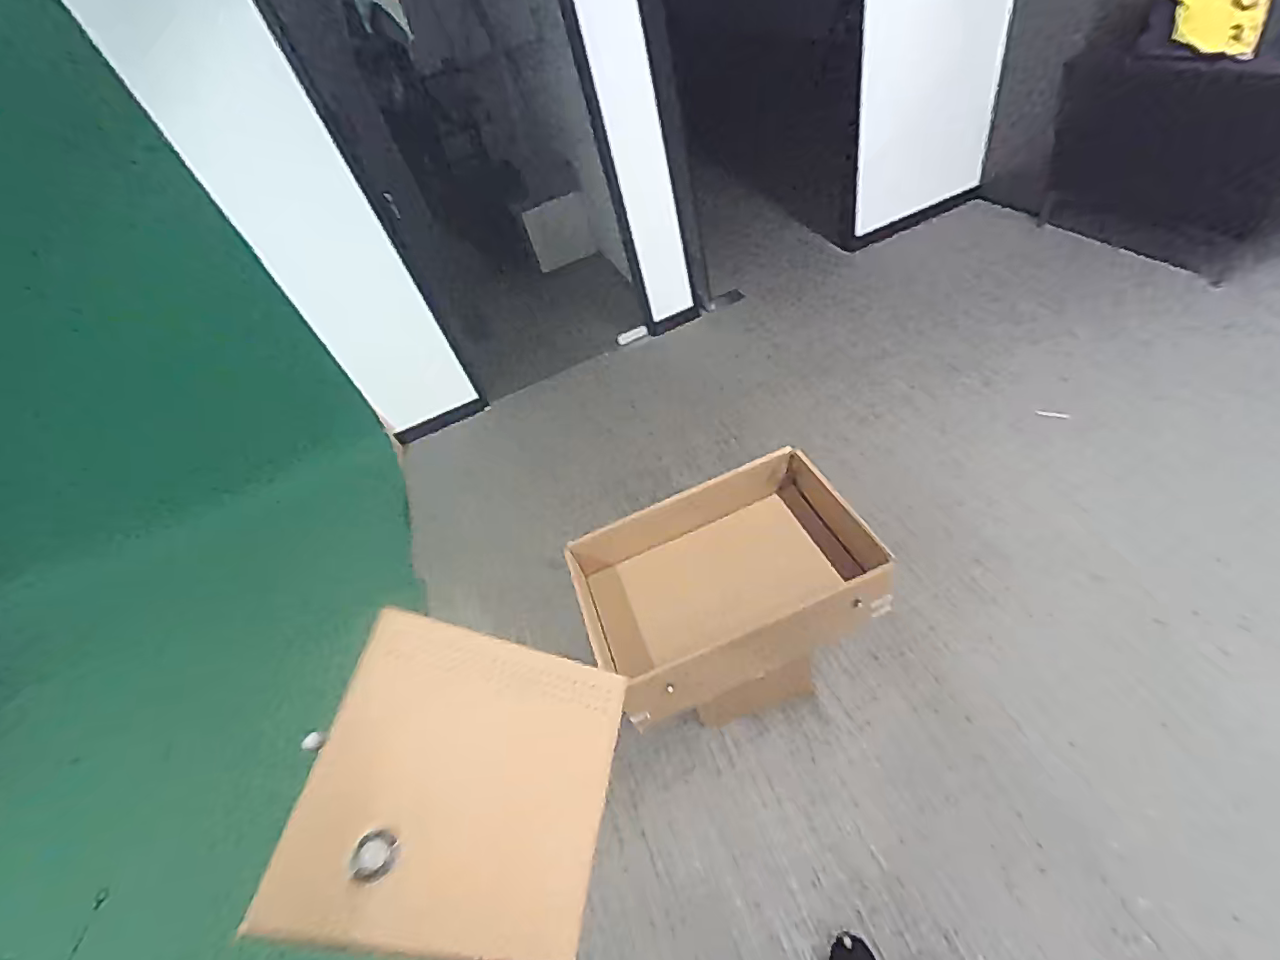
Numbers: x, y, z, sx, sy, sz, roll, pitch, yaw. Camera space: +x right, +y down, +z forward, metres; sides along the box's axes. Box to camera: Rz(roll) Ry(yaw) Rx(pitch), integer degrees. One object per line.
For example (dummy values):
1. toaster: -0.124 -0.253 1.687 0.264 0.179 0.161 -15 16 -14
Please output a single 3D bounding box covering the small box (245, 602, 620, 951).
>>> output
1. small box: -0.136 0.201 0.391 0.179 0.168 0.176 24 56 -16
